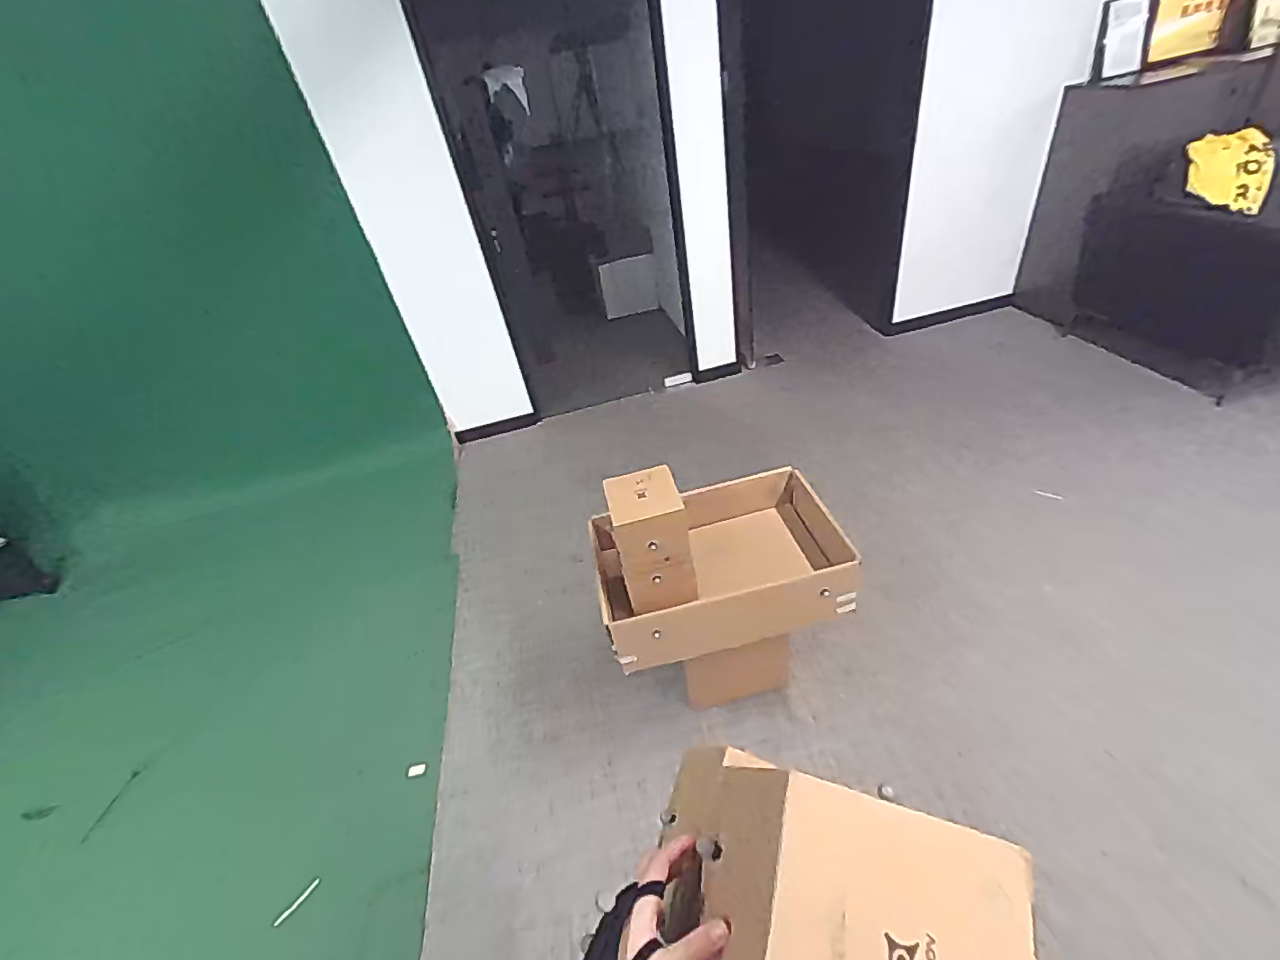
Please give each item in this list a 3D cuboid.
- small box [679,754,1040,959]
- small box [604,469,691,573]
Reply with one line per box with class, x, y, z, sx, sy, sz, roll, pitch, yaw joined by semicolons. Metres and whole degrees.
small box;0.144;0.312;0.390;0.179;0.176;0.168;19;60;1
small box;0.019;0.104;1.298;0.168;0.176;0.179;-14;37;-3
